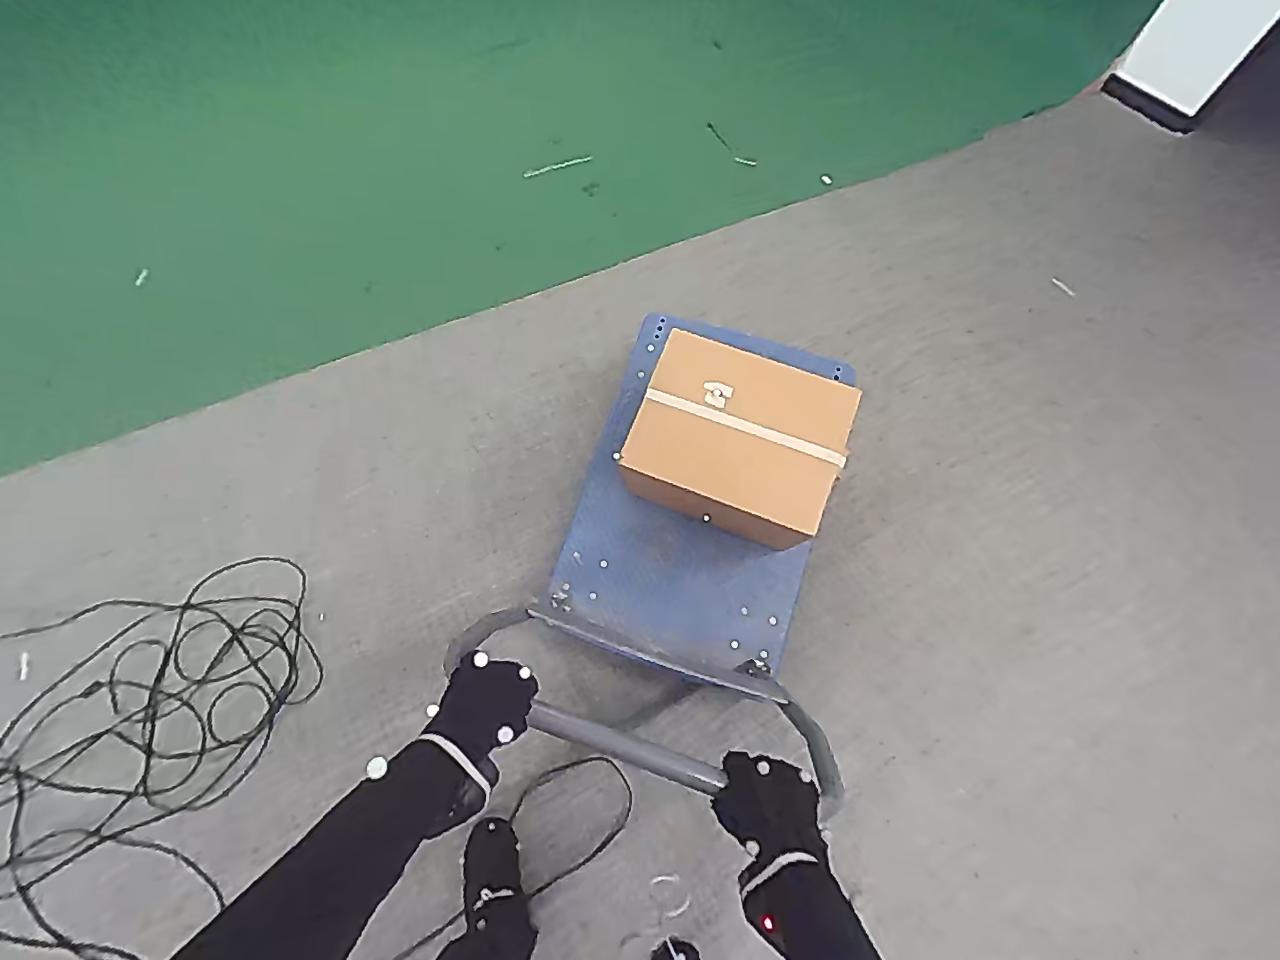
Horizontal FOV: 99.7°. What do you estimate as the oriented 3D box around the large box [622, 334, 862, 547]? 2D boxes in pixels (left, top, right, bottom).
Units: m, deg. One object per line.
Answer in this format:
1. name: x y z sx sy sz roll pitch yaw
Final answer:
1. large box: 0.214 -0.068 1.204 0.408 0.320 0.320 20 79 9
